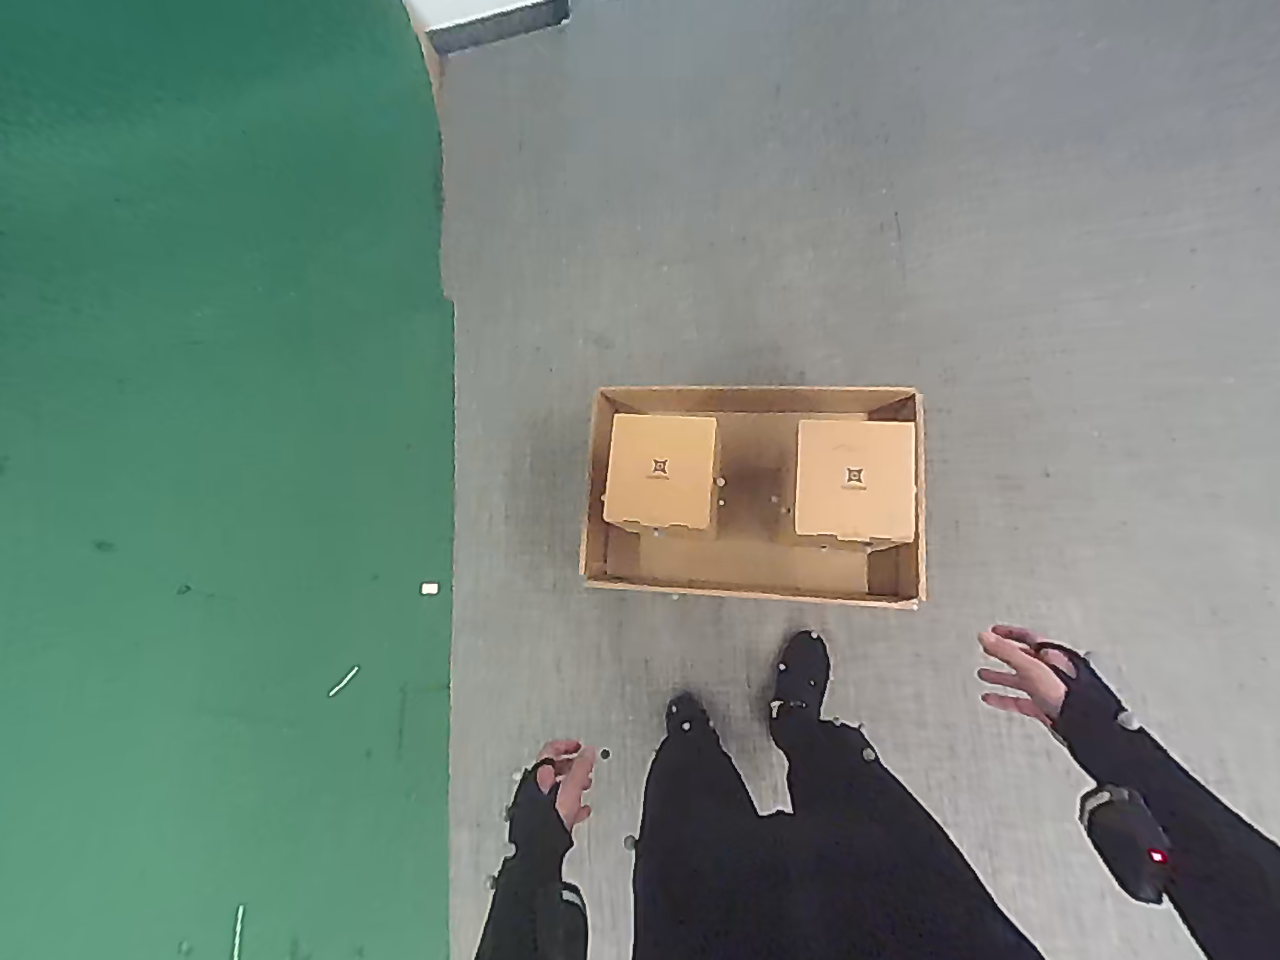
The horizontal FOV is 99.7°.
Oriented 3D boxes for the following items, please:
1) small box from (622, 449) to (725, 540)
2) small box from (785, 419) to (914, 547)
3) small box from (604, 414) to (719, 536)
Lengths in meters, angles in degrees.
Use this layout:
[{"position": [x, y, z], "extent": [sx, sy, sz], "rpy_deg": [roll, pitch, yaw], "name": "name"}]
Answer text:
[{"position": [0.073, 0.028, 1.080], "extent": [0.179, 0.176, 0.168], "rpy_deg": [5, 82, 11], "name": "small box"}, {"position": [0.323, 0.012, 0.860], "extent": [0.168, 0.176, 0.179], "rpy_deg": [4, 80, 11], "name": "small box"}, {"position": [0.045, -0.003, 0.922], "extent": [0.168, 0.176, 0.179], "rpy_deg": [4, 81, 11], "name": "small box"}]
